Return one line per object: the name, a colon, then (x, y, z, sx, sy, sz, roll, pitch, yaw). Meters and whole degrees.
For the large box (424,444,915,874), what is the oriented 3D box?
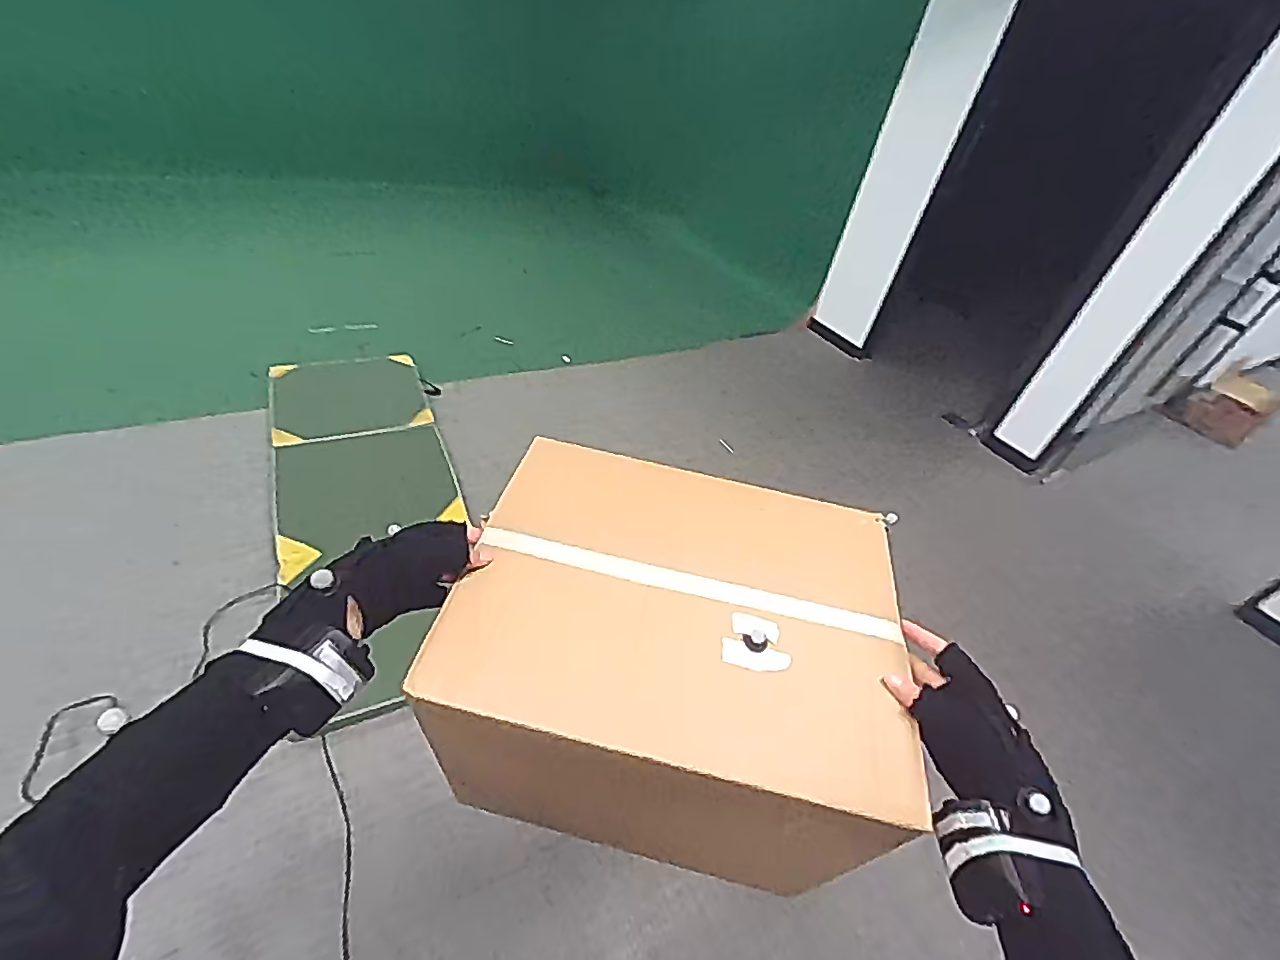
large box: (0.025, 0.205, 0.630, 0.408, 0.320, 0.320, 13, 46, 3)
